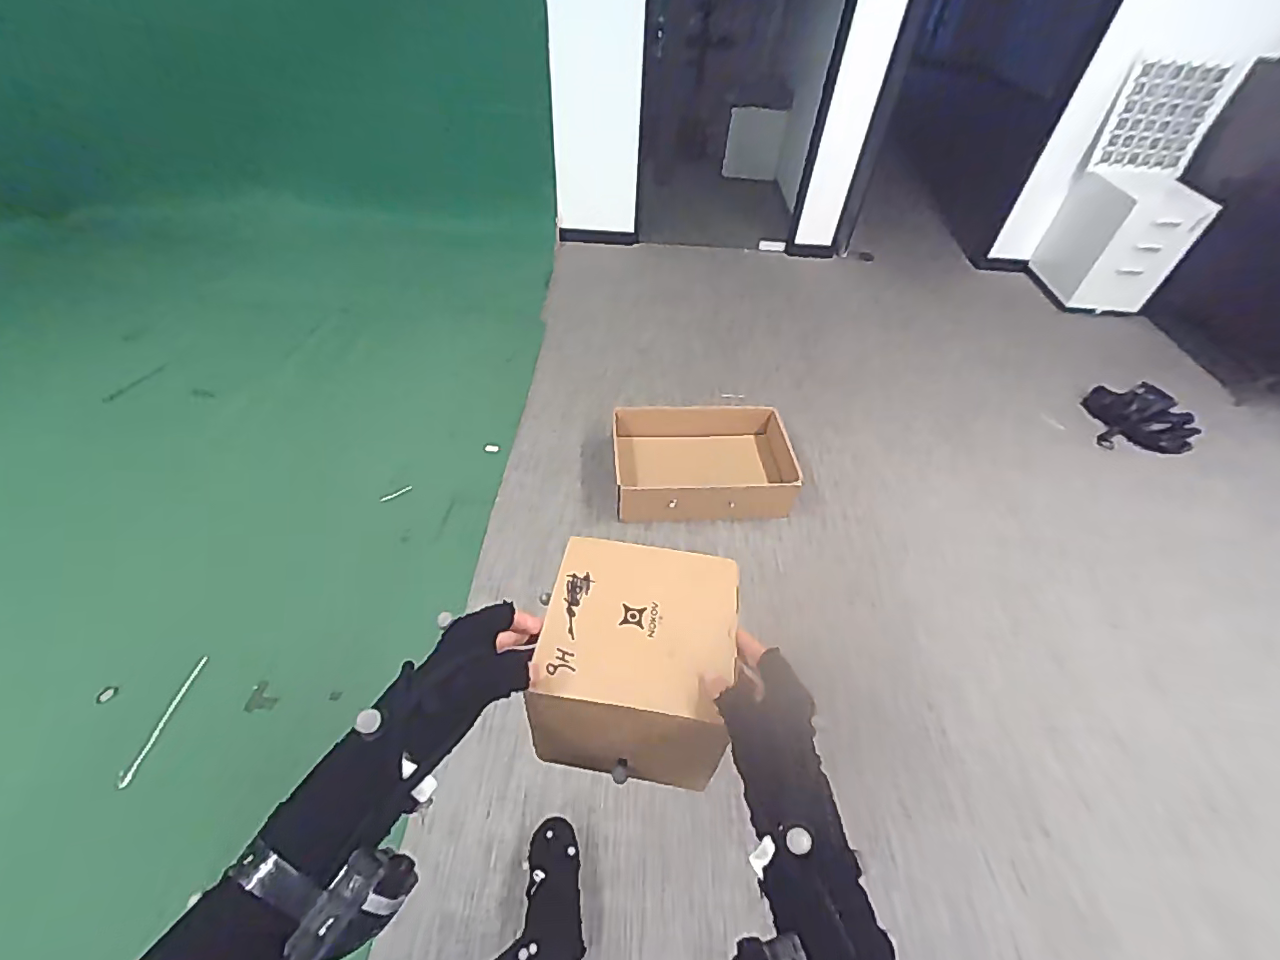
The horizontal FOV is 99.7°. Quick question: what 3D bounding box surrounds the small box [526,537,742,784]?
[{"bbox_3d":[-0.003,0.185,0.547,0.179,0.176,0.168,9,43,3],"label":"small box"}]
